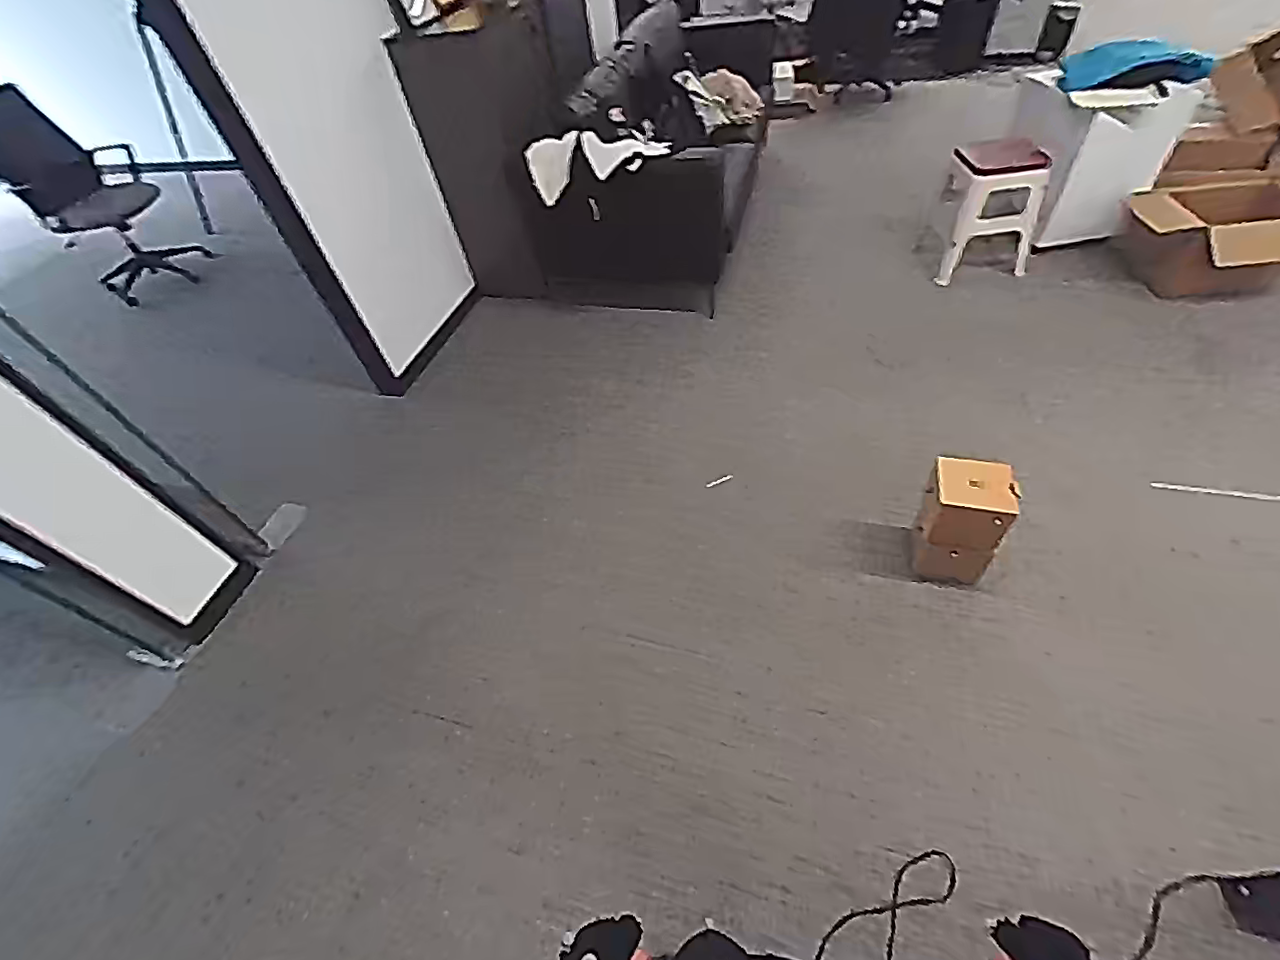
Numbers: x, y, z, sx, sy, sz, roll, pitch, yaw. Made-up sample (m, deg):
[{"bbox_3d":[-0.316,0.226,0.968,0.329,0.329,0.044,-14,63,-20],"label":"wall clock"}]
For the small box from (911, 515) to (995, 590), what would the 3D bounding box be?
[{"bbox_3d":[0.887,0.188,1.551,0.168,0.176,0.179,7,50,15],"label":"small box"}]

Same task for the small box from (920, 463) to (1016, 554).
[{"bbox_3d":[0.856,0.077,1.434,0.179,0.176,0.168,8,51,15],"label":"small box"}]
